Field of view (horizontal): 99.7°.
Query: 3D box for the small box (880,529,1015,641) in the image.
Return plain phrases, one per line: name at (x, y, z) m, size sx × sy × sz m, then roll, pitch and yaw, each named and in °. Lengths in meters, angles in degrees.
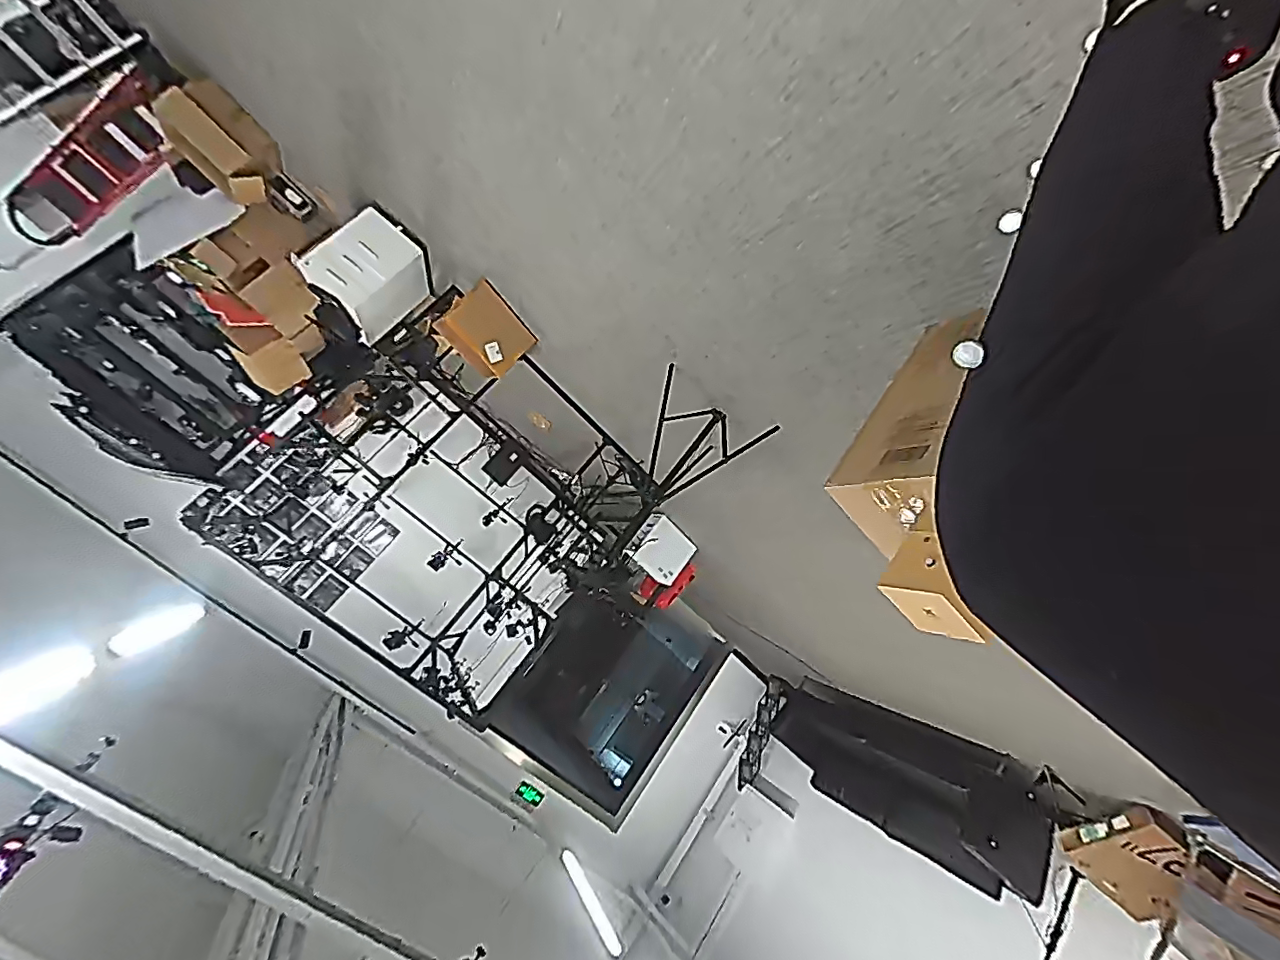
small box at (0.676, 0.221, 1.190) m, size 0.179 × 0.176 × 0.168 m, roll 43°, pitch 161°, yaw -15°
